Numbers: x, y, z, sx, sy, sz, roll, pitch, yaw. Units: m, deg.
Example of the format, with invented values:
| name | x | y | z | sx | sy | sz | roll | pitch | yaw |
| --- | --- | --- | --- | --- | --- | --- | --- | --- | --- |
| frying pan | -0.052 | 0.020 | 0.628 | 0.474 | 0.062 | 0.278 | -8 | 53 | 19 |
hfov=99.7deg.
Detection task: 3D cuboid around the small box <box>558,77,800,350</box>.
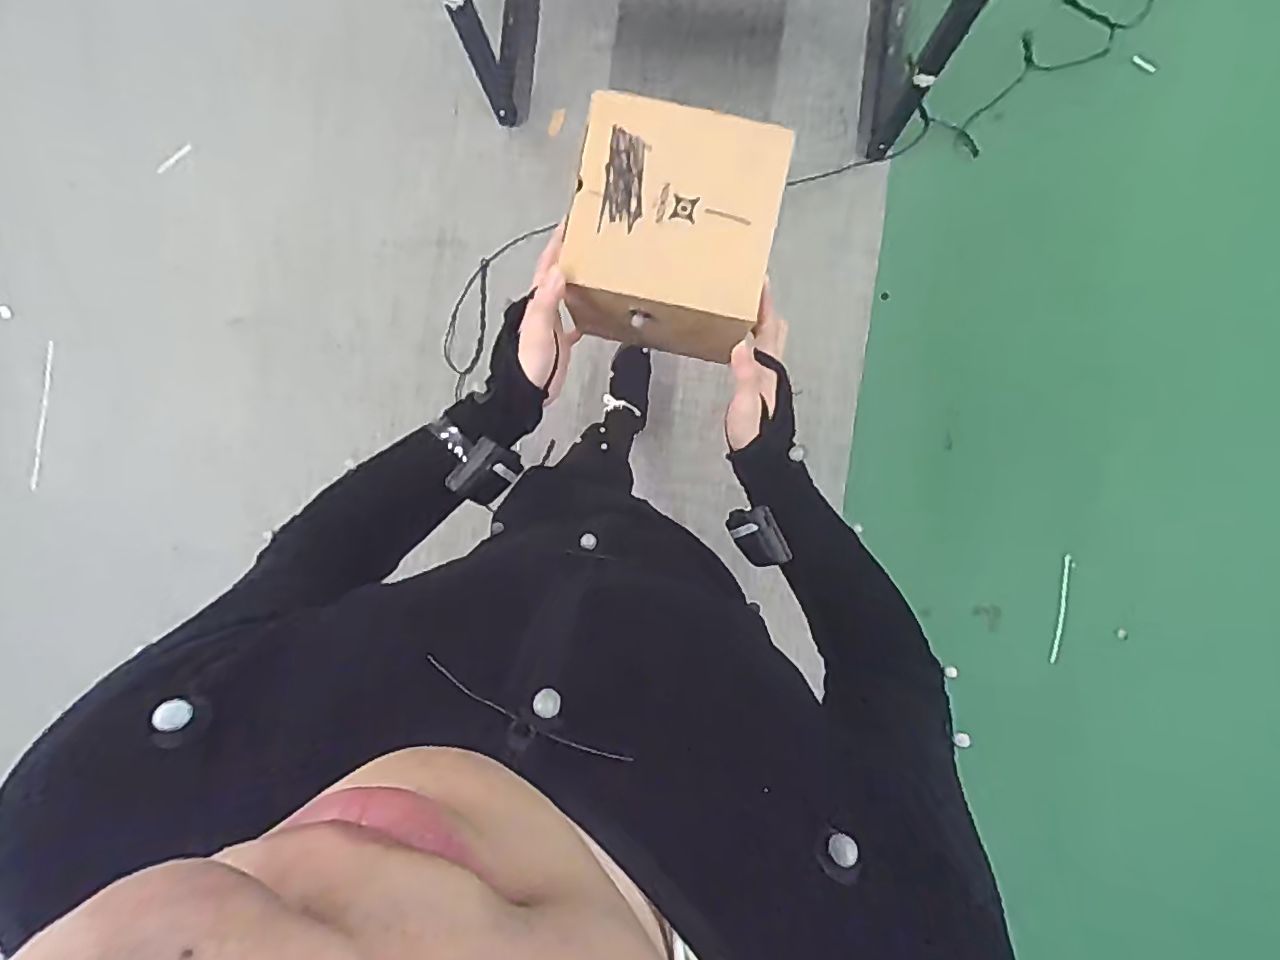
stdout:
| name | x | y | z | sx | sy | sz | roll | pitch | yaw |
| --- | --- | --- | --- | --- | --- | --- | --- | --- | --- |
| small box | 0.033 | -0.239 | 0.529 | 0.179 | 0.176 | 0.168 | 12 | 89 | 1 |
